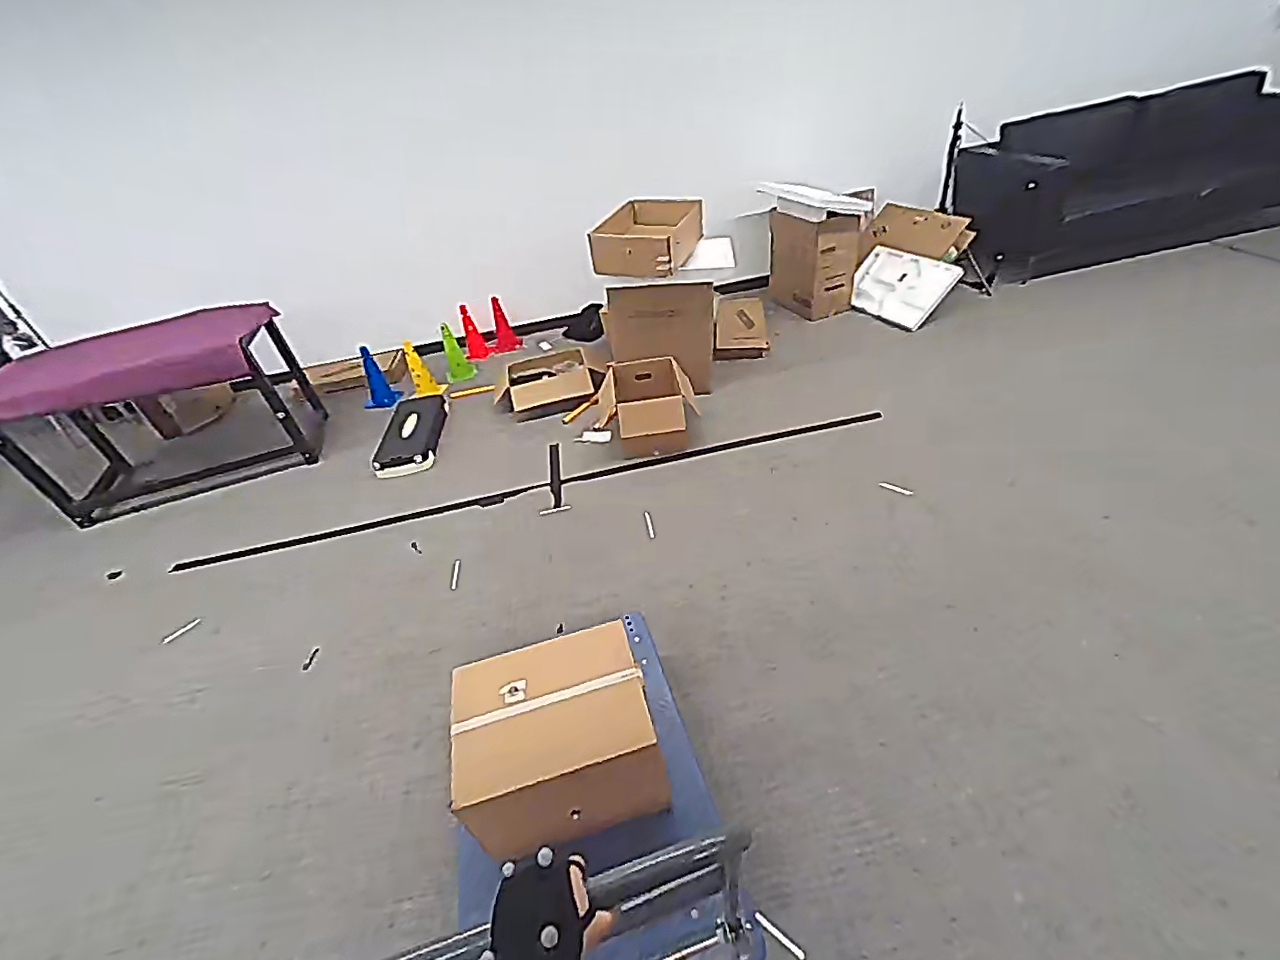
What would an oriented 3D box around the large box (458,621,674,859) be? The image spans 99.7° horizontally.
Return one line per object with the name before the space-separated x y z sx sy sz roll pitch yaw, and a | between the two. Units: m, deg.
large box | -0.168 0.592 1.248 0.408 0.320 0.320 -16 37 -6
